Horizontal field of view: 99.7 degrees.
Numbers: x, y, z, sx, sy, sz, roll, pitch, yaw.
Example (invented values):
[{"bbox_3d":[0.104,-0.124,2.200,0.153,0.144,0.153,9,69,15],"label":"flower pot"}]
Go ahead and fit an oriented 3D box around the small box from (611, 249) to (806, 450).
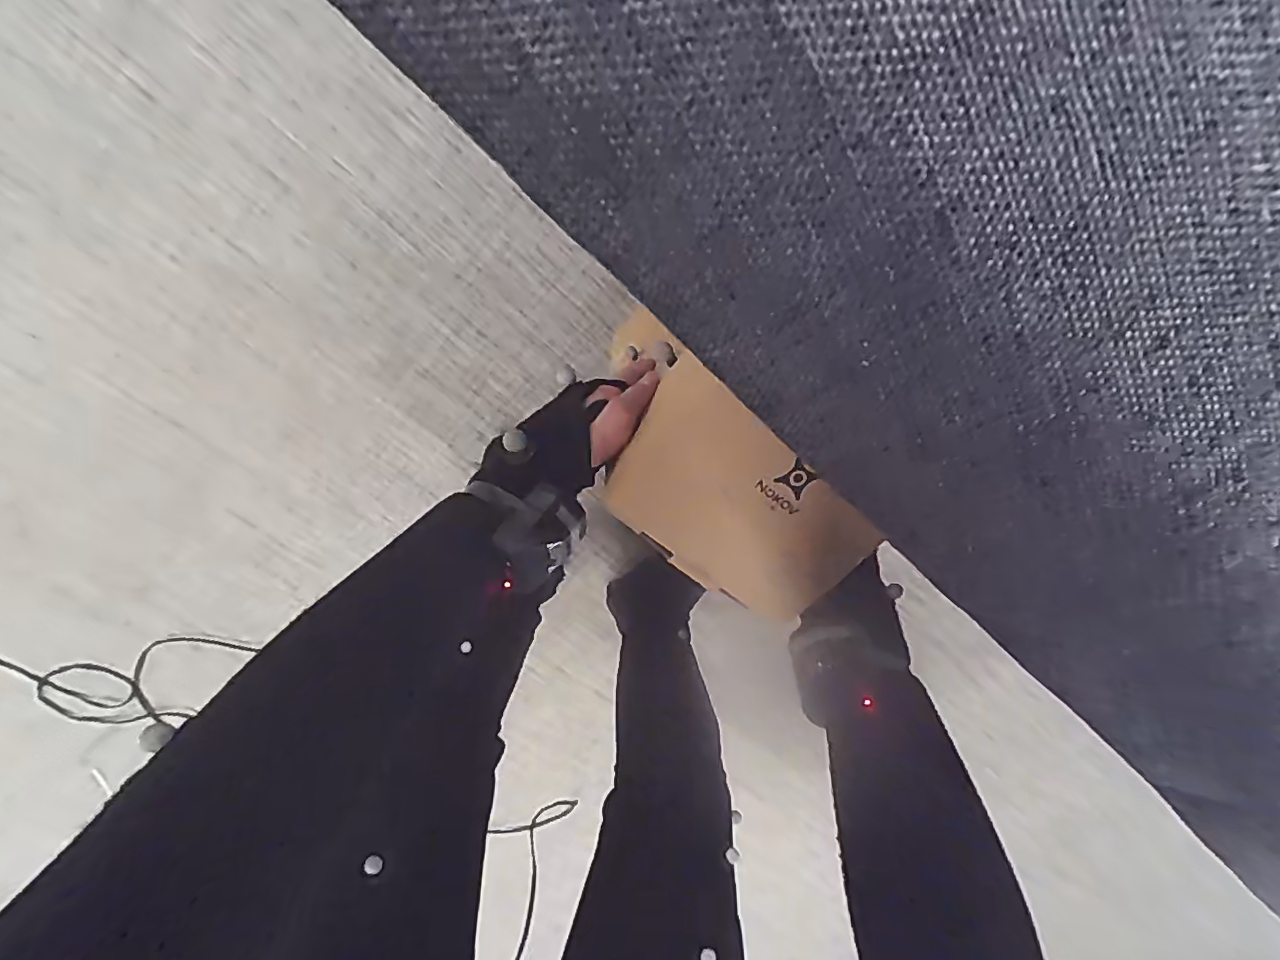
[{"bbox_3d":[0.076,-0.177,0.702,0.179,0.176,0.168,-42,110,17],"label":"small box"}]
